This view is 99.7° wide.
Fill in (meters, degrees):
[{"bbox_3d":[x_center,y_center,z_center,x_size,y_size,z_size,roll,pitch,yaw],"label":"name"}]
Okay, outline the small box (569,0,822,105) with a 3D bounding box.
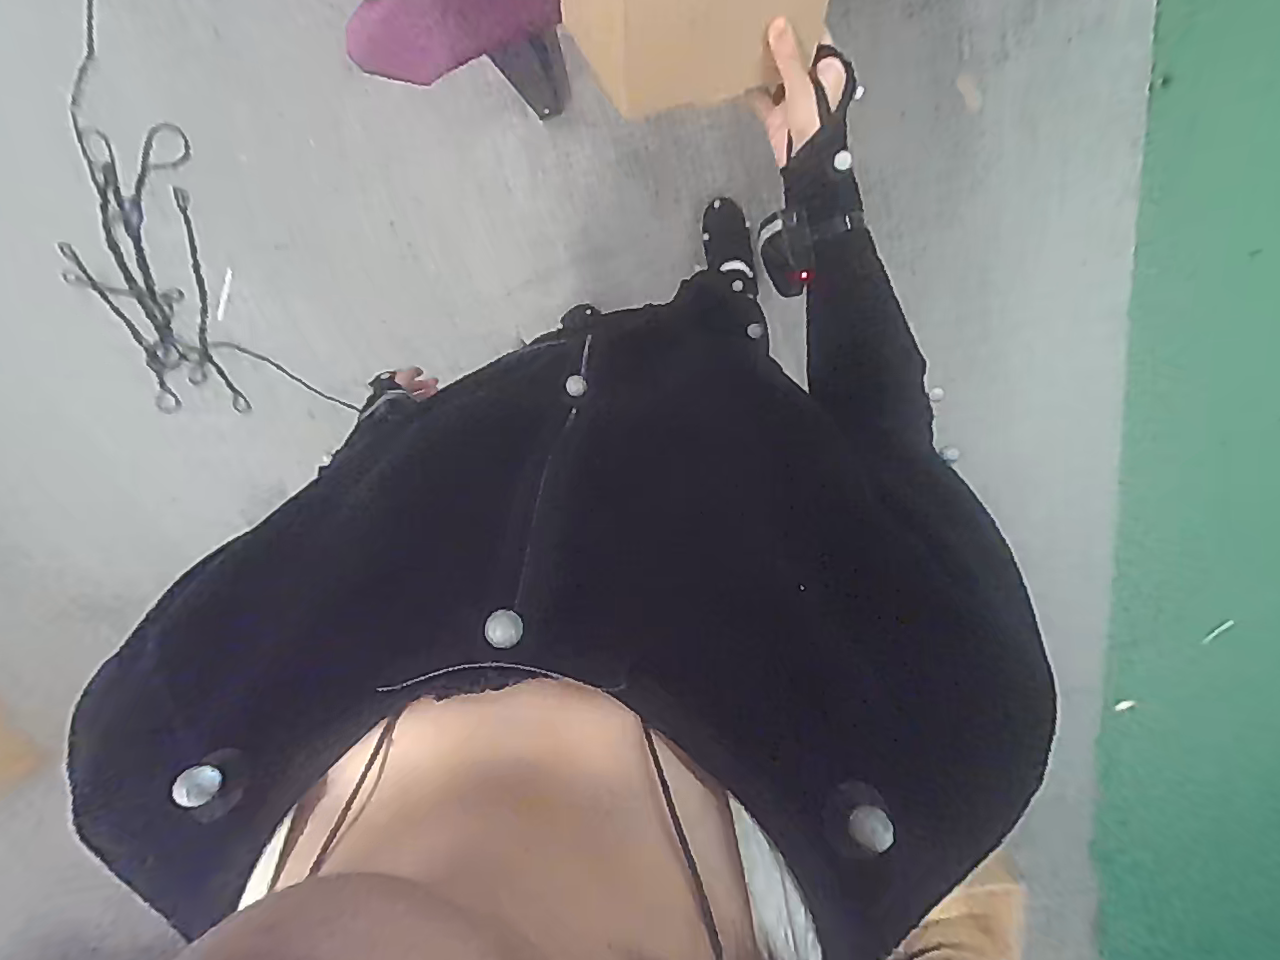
[{"bbox_3d":[0.033,-0.424,0.392,0.168,0.176,0.179,-20,155,-9],"label":"small box"}]
